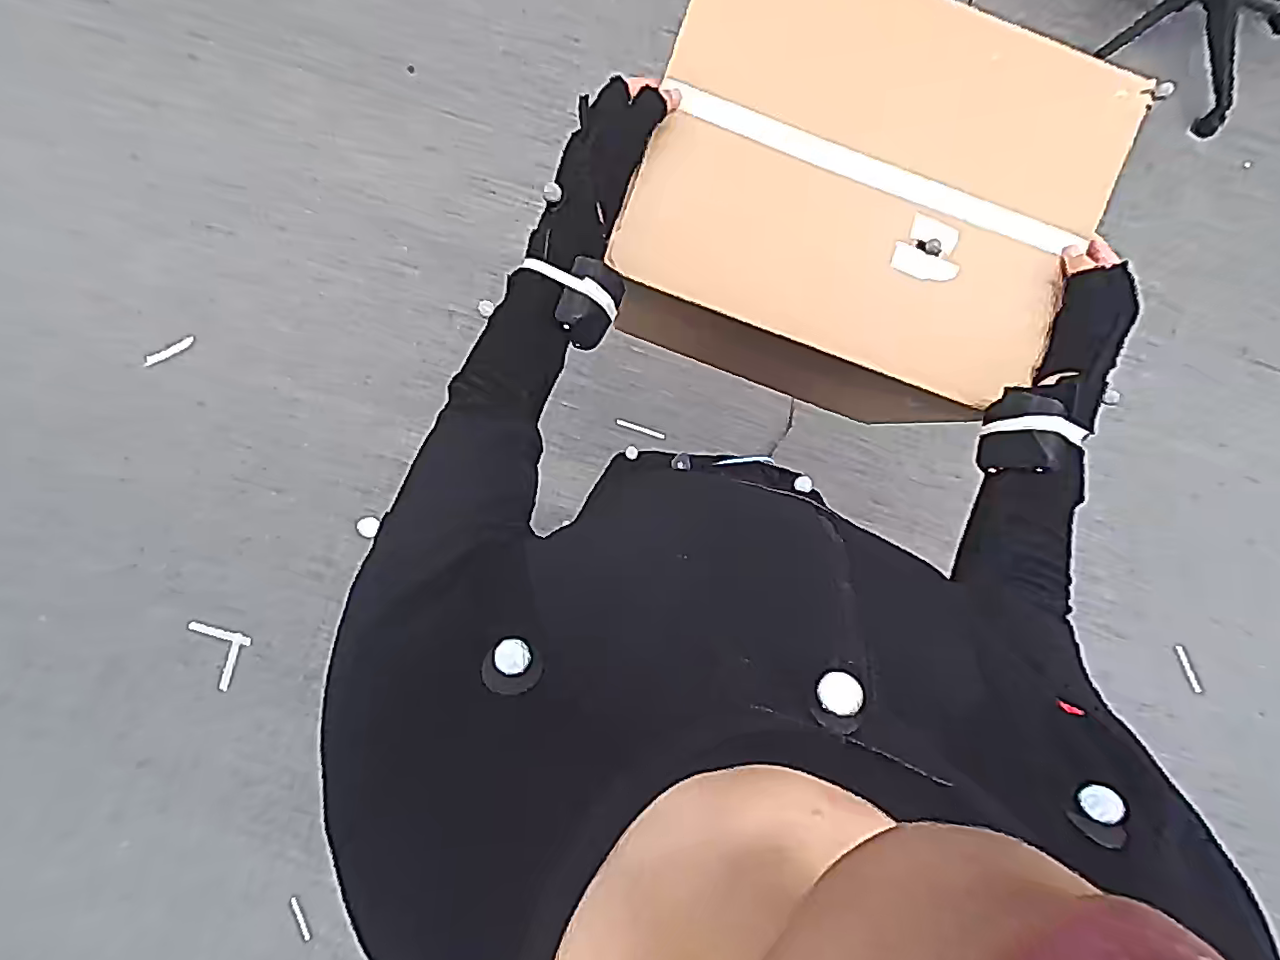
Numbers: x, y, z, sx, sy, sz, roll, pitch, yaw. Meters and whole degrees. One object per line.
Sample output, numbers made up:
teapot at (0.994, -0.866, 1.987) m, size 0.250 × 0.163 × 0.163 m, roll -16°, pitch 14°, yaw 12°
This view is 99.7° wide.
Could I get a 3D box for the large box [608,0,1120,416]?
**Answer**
large box at (0.197, -0.284, 0.639) m, size 0.408 × 0.320 × 0.320 m, roll 20°, pitch 96°, yaw -4°
